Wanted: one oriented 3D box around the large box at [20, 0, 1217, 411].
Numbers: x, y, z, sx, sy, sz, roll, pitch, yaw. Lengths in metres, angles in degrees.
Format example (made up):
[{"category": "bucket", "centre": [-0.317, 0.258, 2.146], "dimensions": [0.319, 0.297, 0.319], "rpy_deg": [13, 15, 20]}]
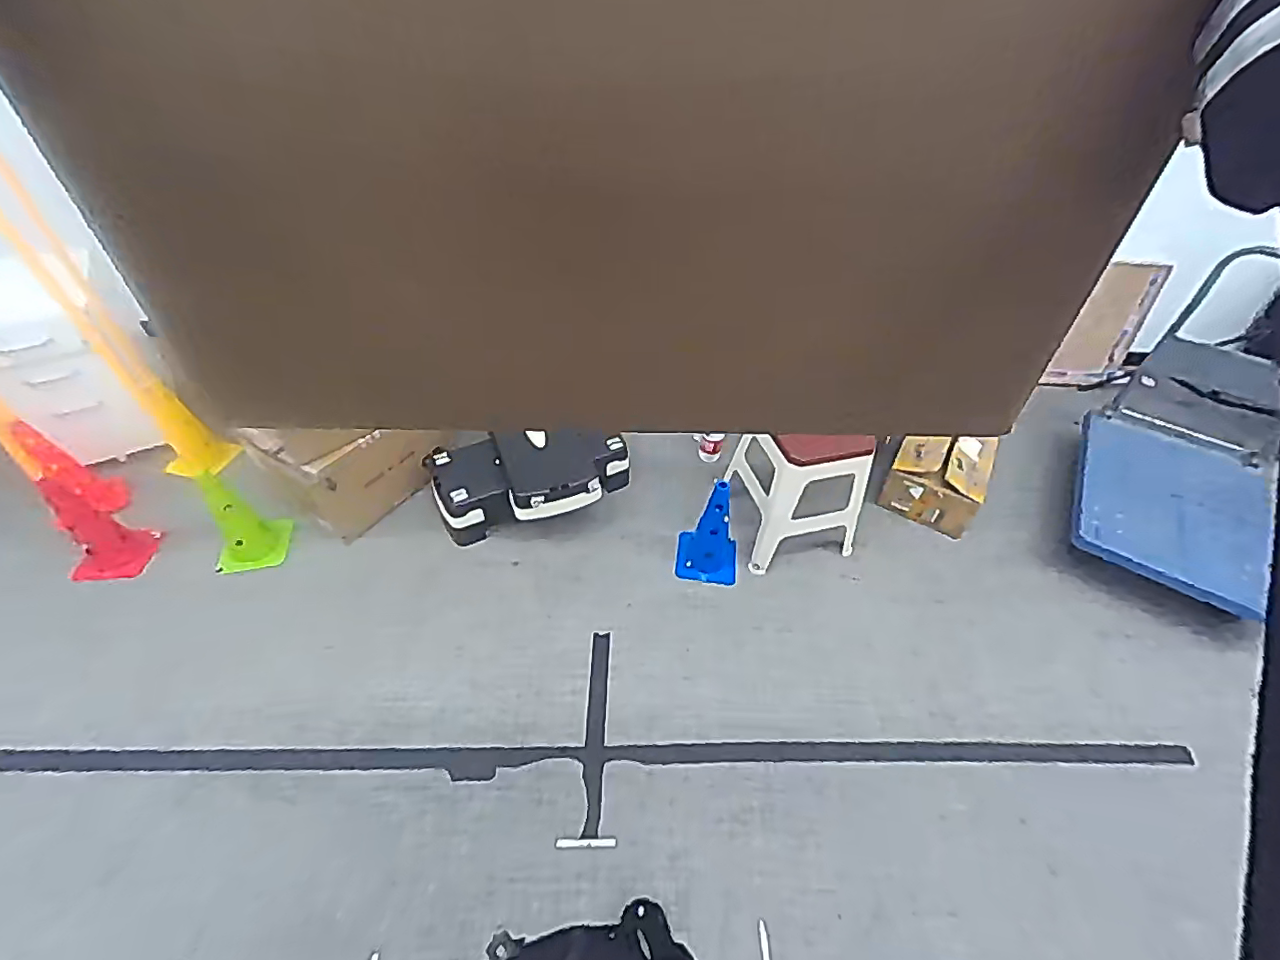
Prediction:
[{"category": "large box", "centre": [-0.008, -0.248, 0.293], "dimensions": [0.408, 0.320, 0.320], "rpy_deg": [1, 43, -1]}]
